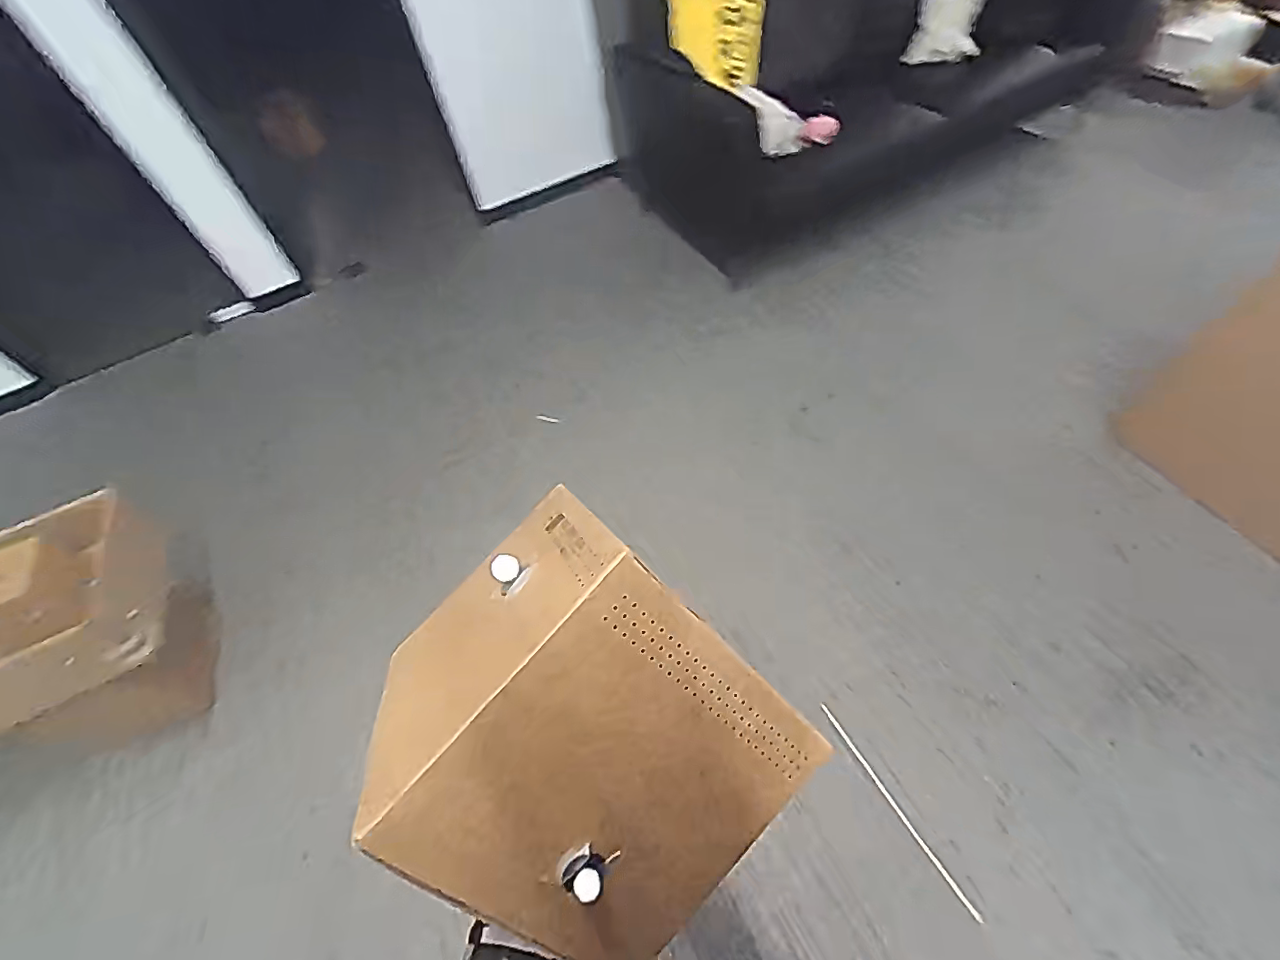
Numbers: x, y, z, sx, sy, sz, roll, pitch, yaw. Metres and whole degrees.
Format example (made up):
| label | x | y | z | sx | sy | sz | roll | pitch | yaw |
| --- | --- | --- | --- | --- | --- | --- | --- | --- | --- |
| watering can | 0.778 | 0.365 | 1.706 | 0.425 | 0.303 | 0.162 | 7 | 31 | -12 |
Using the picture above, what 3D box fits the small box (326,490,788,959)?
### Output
| label | x | y | z | sx | sy | sz | roll | pitch | yaw |
| --- | --- | --- | --- | --- | --- | --- | --- | --- | --- |
| small box | -0.045 | 0.133 | 0.333 | 0.176 | 0.179 | 0.168 | -47 | 21 | -8 |
